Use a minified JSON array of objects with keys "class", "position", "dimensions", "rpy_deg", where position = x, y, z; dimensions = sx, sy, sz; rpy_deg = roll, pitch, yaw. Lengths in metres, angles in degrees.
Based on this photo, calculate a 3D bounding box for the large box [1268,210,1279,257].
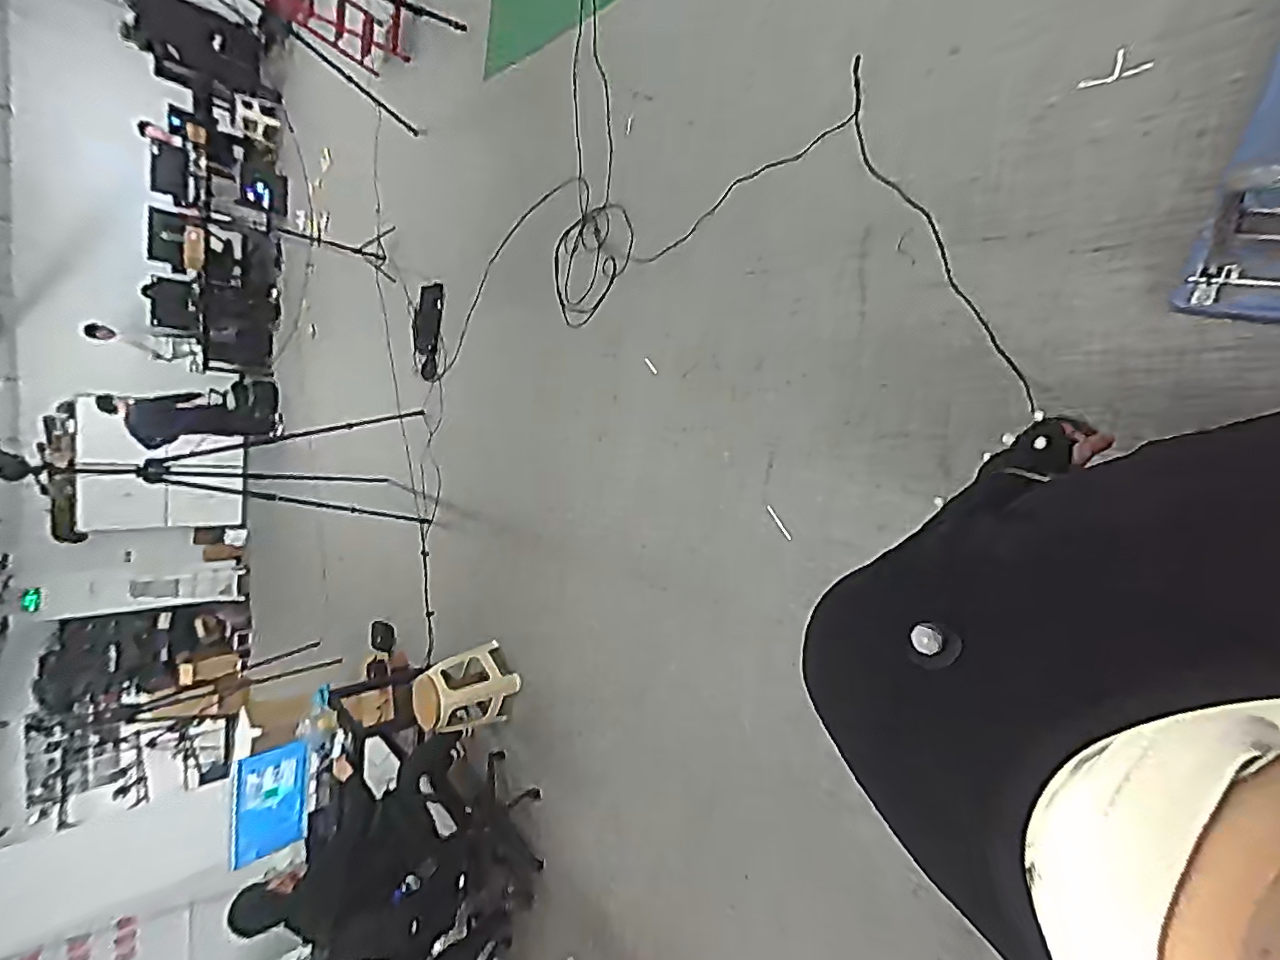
[{"class":"large box","position":[1.189,-0.553,0.746],"dimensions":[0.320,0.320,0.408],"rpy_deg":[26,107,41]}]
